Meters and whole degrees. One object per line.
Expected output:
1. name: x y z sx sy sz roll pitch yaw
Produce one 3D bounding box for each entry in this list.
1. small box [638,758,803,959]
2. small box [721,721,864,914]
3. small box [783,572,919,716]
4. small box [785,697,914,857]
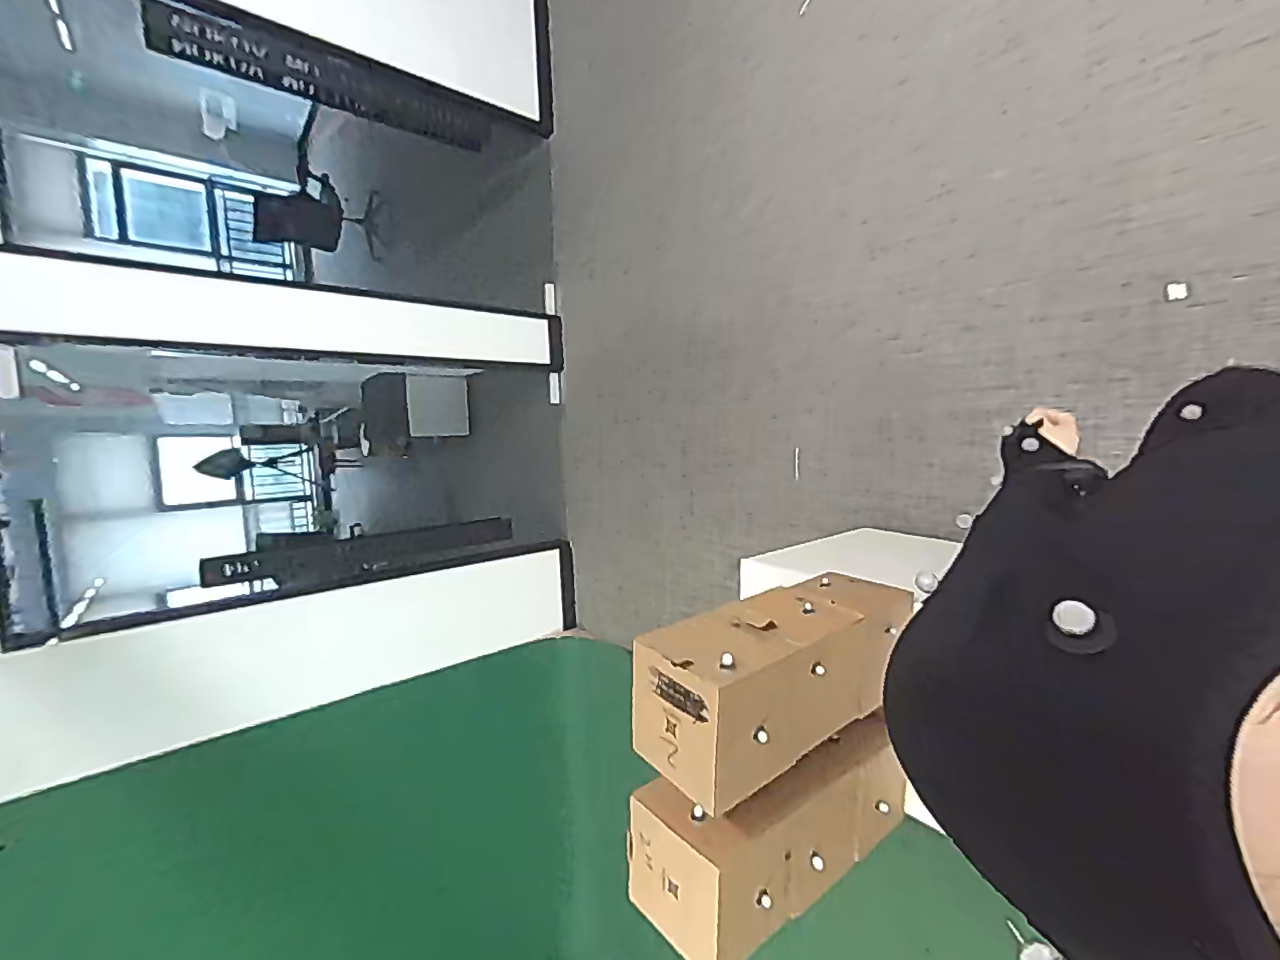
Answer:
1. small box: 0.116 0.537 0.780 0.179 0.176 0.168 8 99 50
2. small box: 0.246 0.531 0.881 0.168 0.176 0.179 7 99 50
3. small box: 0.373 0.274 0.955 0.168 0.176 0.179 7 103 52
4. small box: 0.377 0.519 0.981 0.168 0.176 0.179 8 100 50
